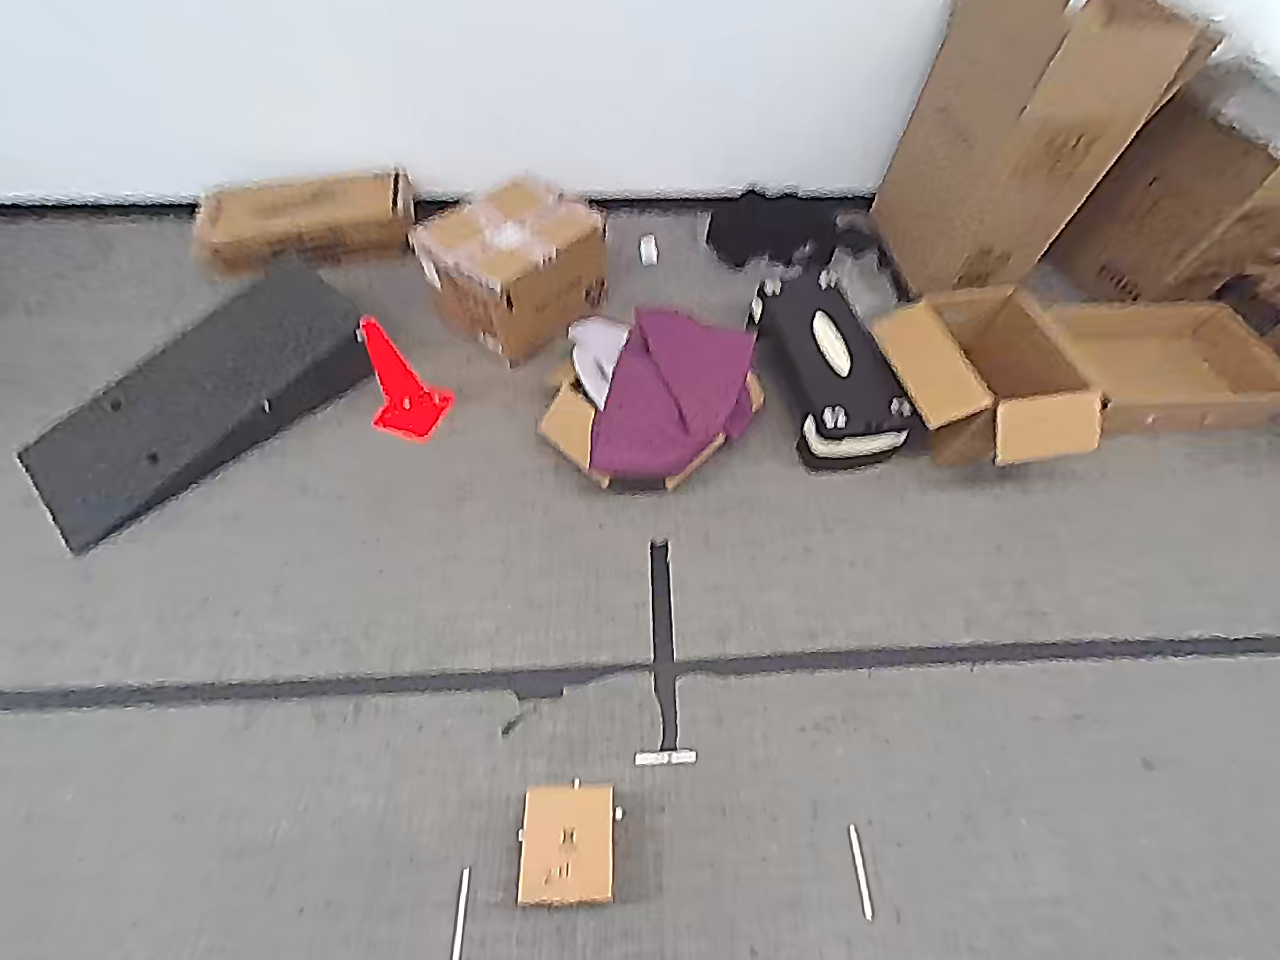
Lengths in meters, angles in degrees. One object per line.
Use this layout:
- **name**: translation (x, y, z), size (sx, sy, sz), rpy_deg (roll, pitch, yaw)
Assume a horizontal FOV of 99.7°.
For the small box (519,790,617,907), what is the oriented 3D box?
- **small box**: translation (-0.131, 0.711, 1.050), size (0.168, 0.176, 0.179), rpy_deg (-1, 57, -1)
